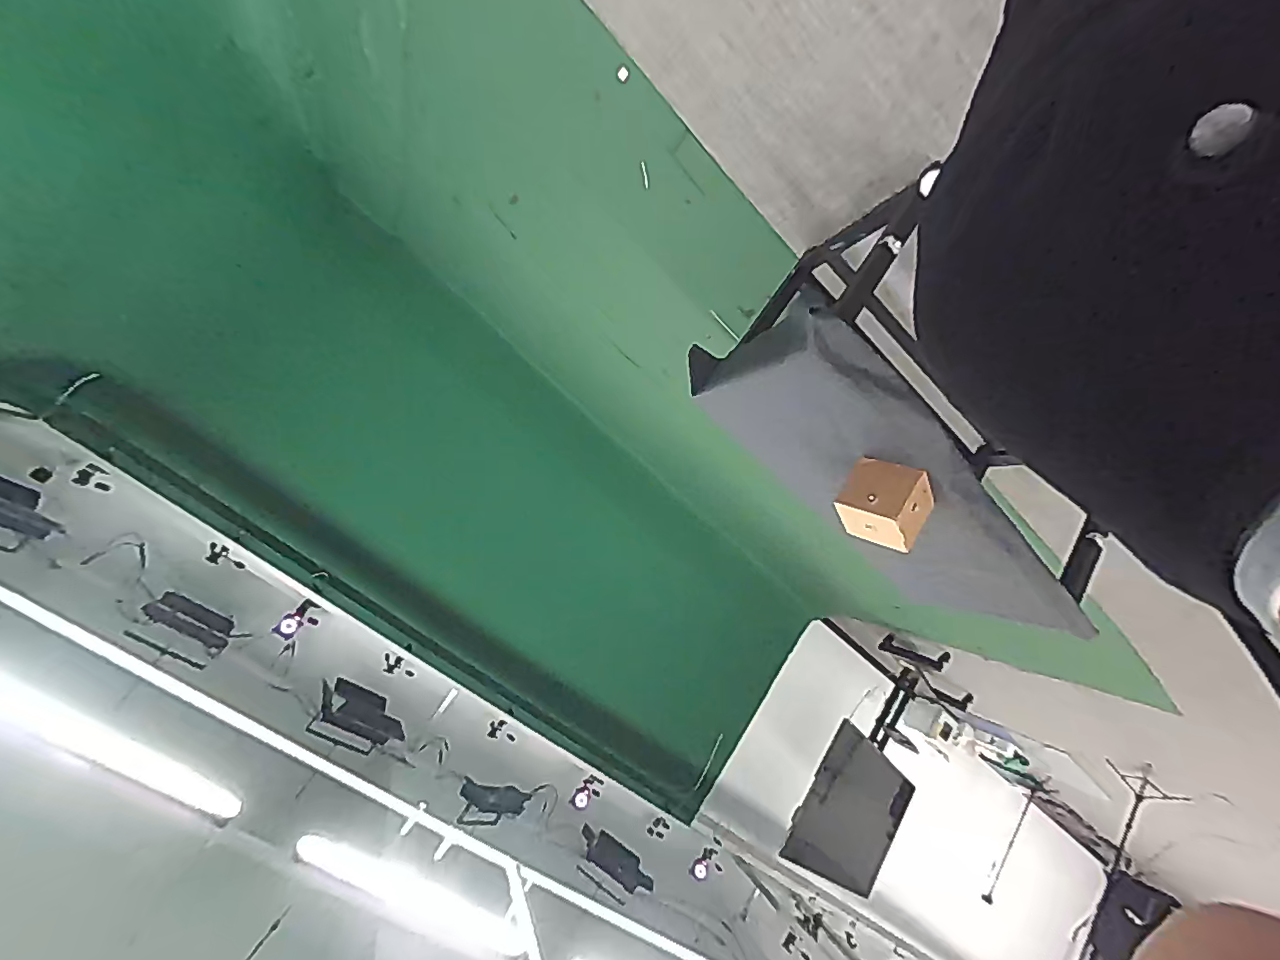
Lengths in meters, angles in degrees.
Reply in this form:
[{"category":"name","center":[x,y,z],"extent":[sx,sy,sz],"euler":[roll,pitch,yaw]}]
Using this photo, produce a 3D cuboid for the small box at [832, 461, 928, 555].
[{"category":"small box","center":[0.660,0.070,1.468],"extent":[0.179,0.176,0.168],"euler":[22,158,46]}]
